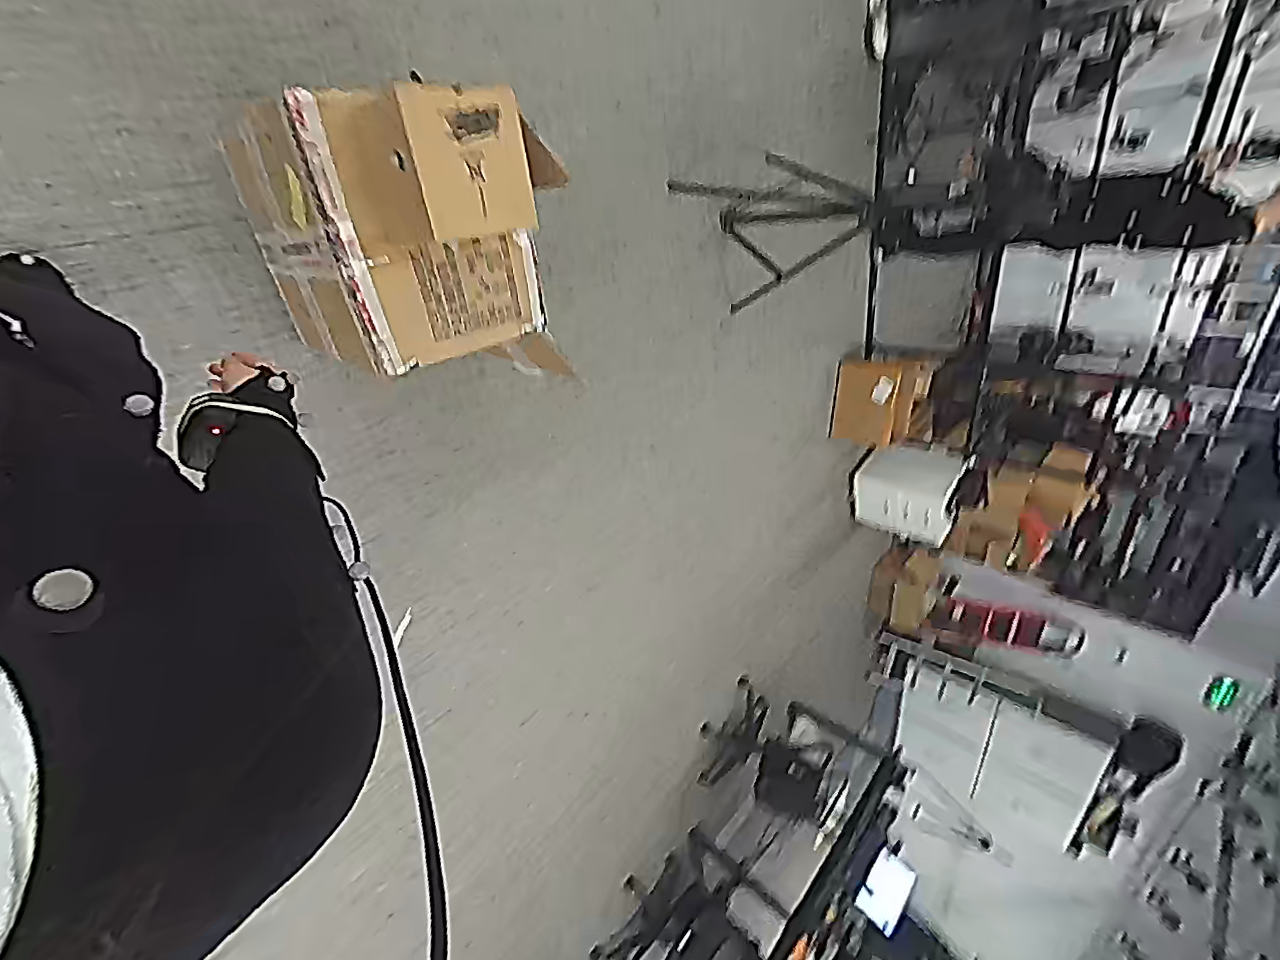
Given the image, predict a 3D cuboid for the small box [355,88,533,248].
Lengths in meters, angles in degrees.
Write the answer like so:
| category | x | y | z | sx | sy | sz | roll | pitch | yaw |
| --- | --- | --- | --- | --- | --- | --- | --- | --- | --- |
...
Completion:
| category | x | y | z | sx | sy | sz | roll | pitch | yaw |
| --- | --- | --- | --- | --- | --- | --- | --- | --- | --- |
| small box | -0.283 | -0.440 | 0.782 | 0.168 | 0.176 | 0.179 | -27 | 124 | -35 |
